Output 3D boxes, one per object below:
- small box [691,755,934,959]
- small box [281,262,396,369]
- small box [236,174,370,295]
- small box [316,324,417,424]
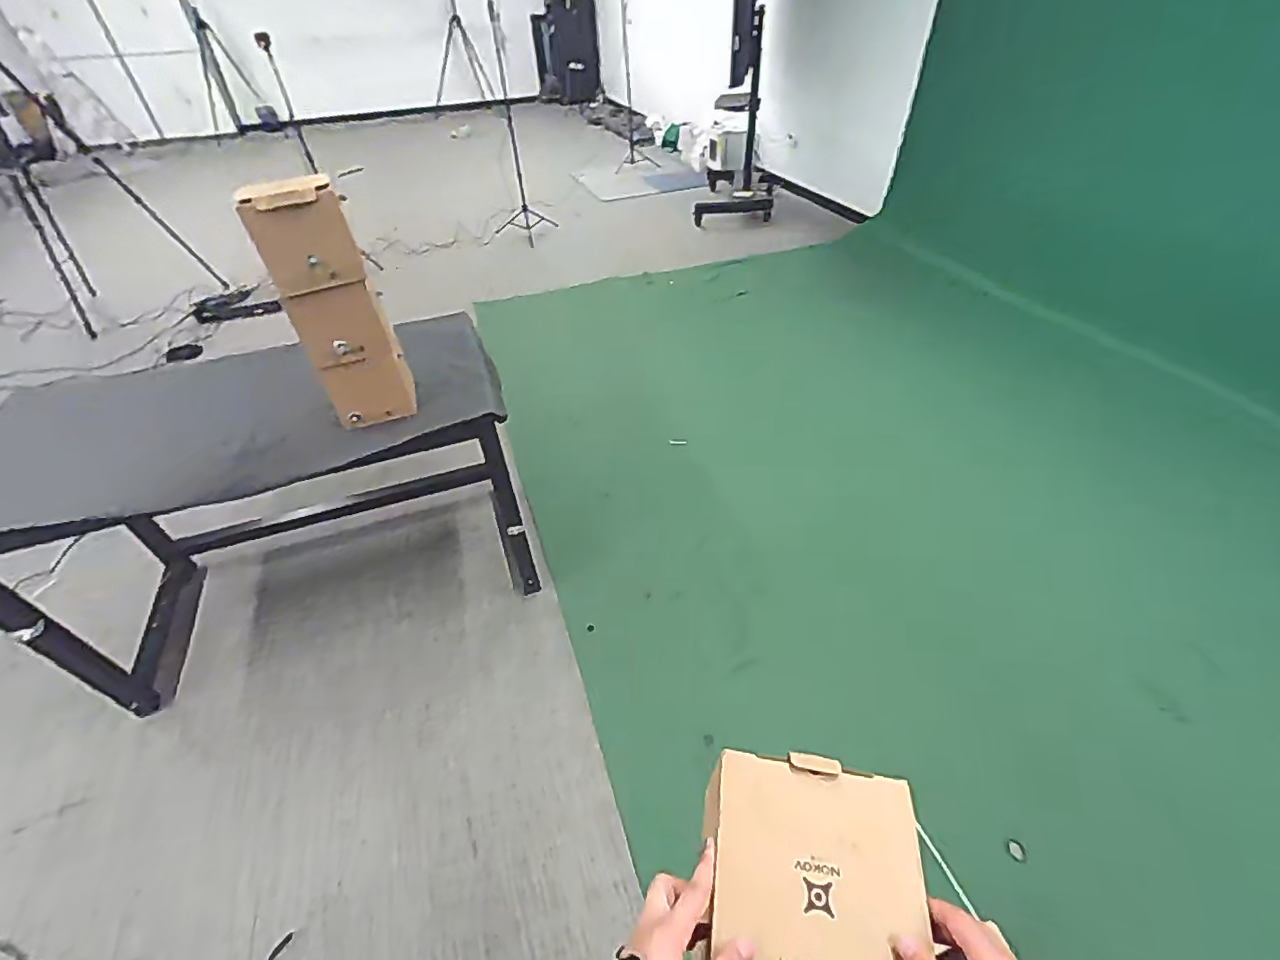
[{"bbox_3d":[0.140,0.375,0.485,0.168,0.176,0.179,8,51,6],"label":"small box"},{"bbox_3d":[-0.653,-0.367,1.185,0.168,0.176,0.179,-19,44,-15],"label":"small box"},{"bbox_3d":[-0.657,-0.487,1.070,0.168,0.176,0.179,-22,44,-17],"label":"small box"},{"bbox_3d":[-0.645,-0.248,1.295,0.168,0.176,0.179,-16,41,-13],"label":"small box"}]
